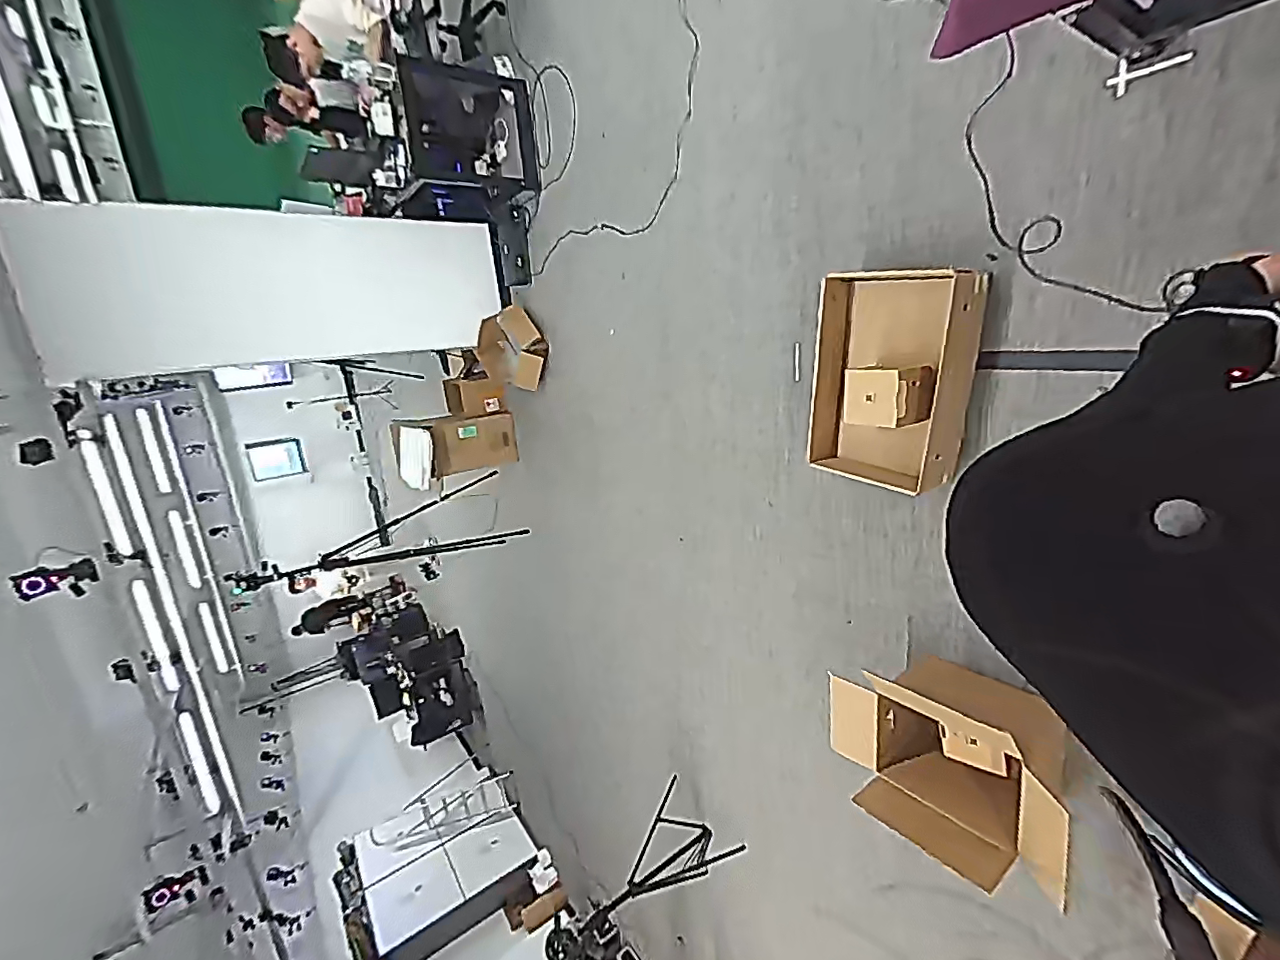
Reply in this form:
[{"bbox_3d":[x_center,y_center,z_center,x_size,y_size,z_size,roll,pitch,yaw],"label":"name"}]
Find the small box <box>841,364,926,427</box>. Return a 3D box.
[{"bbox_3d":[0.730,-0.258,1.619,0.179,0.176,0.168,17,114,52],"label":"small box"}]
